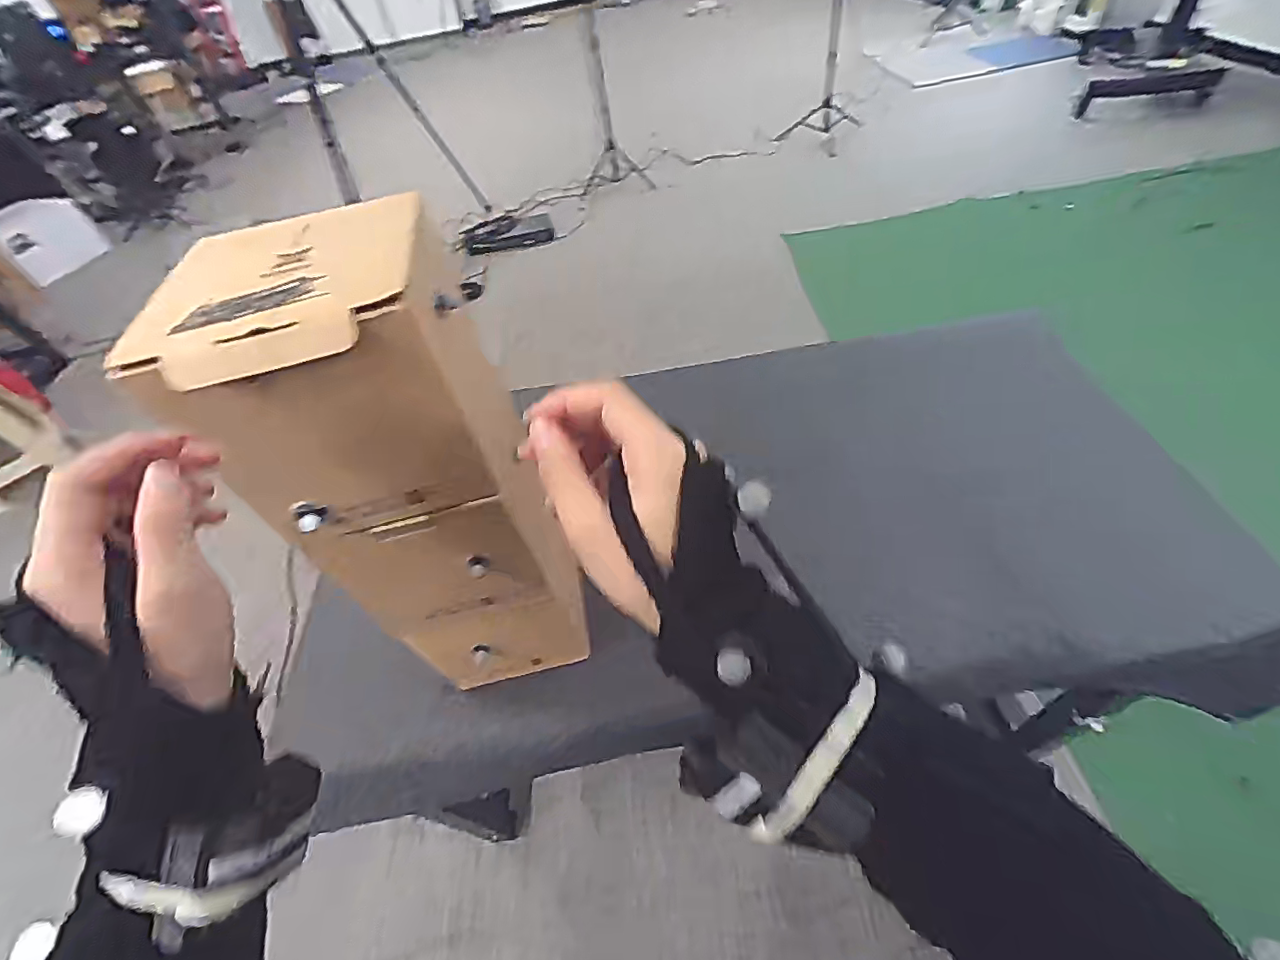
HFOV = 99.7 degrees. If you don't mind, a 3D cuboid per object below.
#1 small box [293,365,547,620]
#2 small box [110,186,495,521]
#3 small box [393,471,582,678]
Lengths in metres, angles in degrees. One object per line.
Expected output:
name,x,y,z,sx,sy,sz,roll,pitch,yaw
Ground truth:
small box,-0.195,0.019,0.532,0.168,0.176,0.179,-13,48,-3
small box,-0.216,-0.088,0.409,0.168,0.176,0.179,-14,48,-4
small box,-0.173,0.122,0.656,0.168,0.176,0.179,-13,49,-2
